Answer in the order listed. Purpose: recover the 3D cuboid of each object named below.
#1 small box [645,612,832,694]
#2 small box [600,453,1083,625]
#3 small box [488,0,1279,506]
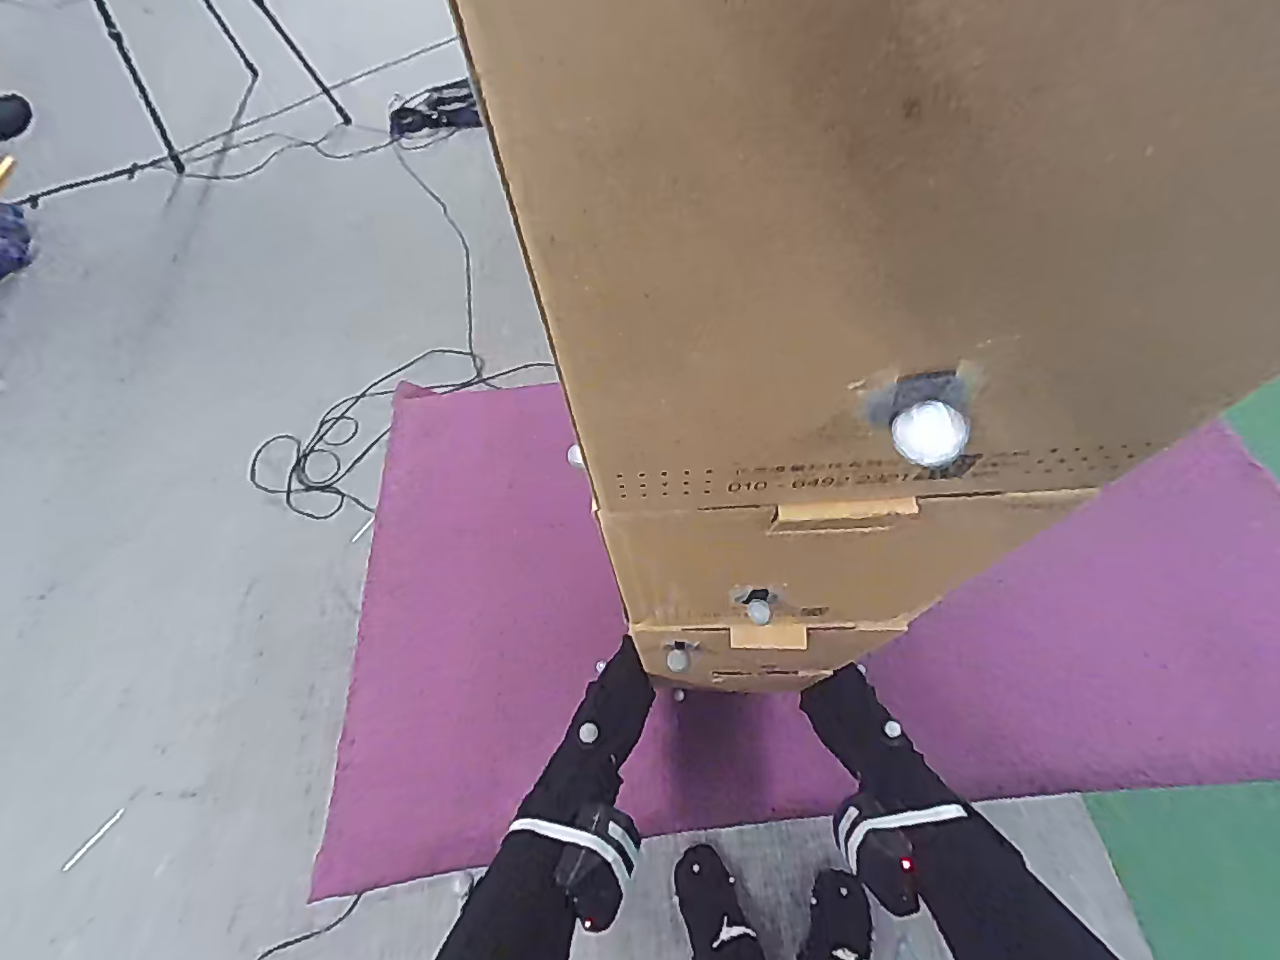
[{"bbox_3d":[0.095,0.128,0.579,0.168,0.176,0.179,0,62,4],"label":"small box"},{"bbox_3d":[0.070,-0.030,0.293,0.168,0.176,0.179,-3,62,3],"label":"small box"},{"bbox_3d":[0.060,-0.109,0.149,0.168,0.176,0.179,-4,62,3],"label":"small box"}]
